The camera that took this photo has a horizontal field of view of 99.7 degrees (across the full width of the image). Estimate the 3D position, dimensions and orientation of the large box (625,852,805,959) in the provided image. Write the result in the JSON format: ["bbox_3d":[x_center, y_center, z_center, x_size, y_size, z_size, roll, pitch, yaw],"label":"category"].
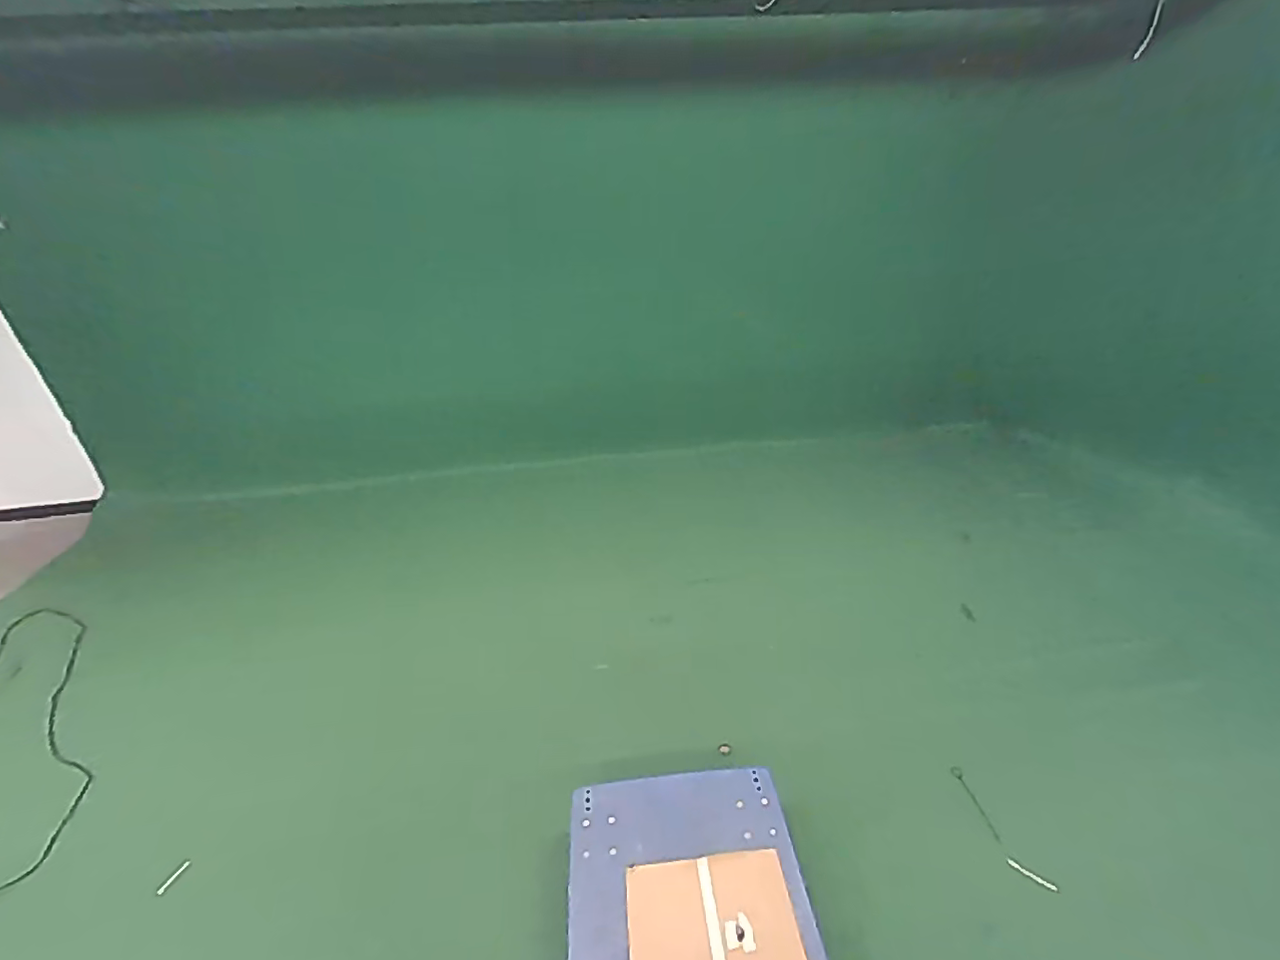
[{"bbox_3d":[0.151,1.000,0.993,0.320,0.320,0.408,-5,27,-3],"label":"large box"}]
